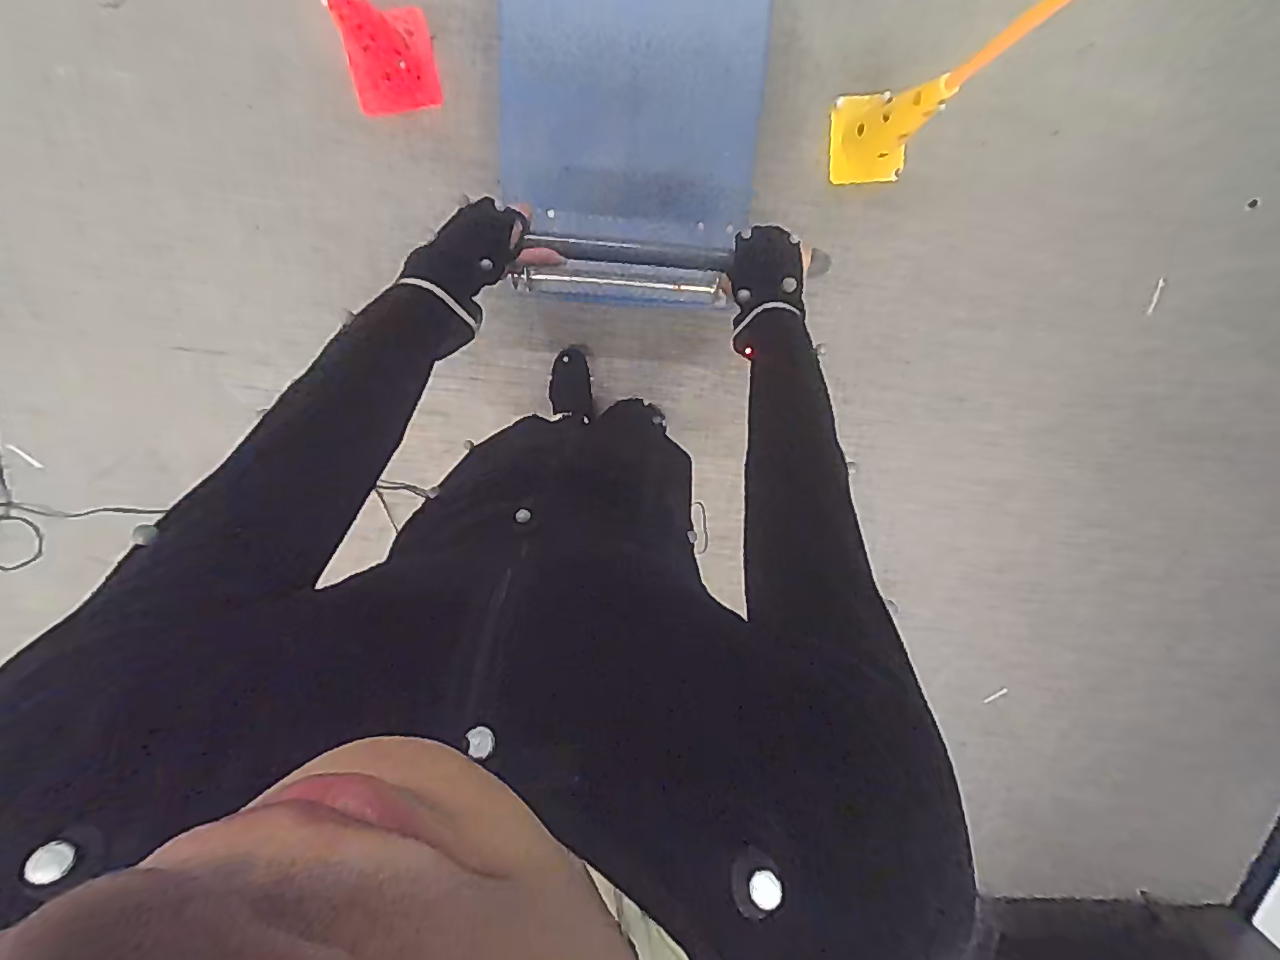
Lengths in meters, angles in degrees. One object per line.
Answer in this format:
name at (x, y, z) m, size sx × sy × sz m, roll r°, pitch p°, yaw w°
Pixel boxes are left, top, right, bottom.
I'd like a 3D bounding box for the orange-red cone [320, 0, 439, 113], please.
orange-red cone at (-0.572, -0.929, 1.103) m, size 0.199 × 0.360 × 0.198 m, roll -8°, pitch 107°, yaw -1°
